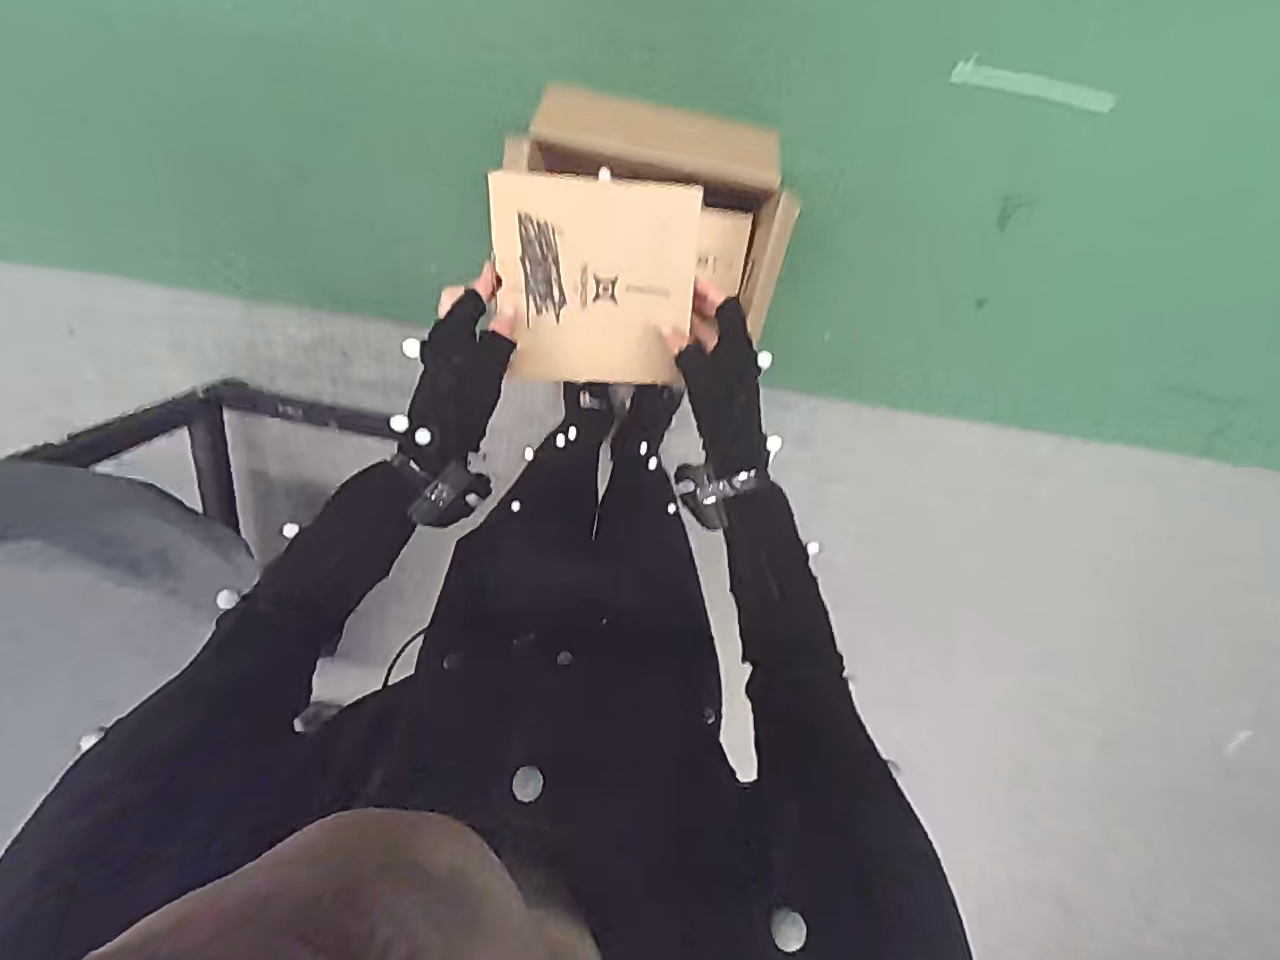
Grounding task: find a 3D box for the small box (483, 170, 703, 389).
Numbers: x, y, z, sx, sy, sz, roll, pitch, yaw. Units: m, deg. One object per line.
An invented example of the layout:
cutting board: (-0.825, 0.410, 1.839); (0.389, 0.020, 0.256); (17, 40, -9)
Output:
small box: (-0.048, -0.193, 0.529); (0.179, 0.176, 0.168); (1, 114, -7)
